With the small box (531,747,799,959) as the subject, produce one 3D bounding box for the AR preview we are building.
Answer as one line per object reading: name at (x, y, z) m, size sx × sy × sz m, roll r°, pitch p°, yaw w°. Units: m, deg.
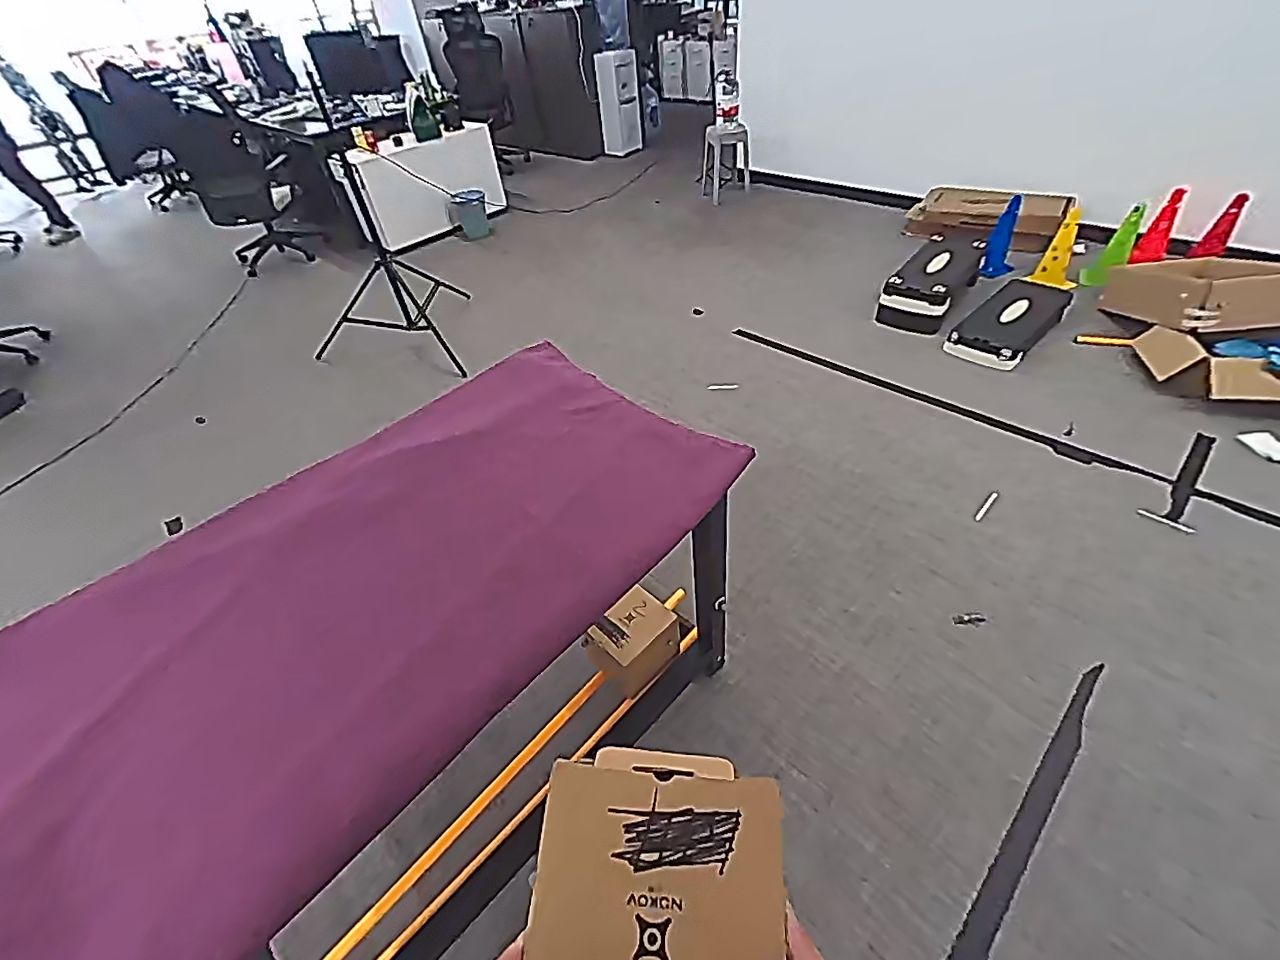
small box at (0.021, 0.319, 0.409) m, size 0.168 × 0.176 × 0.179 m, roll 2°, pitch 55°, yaw 6°
